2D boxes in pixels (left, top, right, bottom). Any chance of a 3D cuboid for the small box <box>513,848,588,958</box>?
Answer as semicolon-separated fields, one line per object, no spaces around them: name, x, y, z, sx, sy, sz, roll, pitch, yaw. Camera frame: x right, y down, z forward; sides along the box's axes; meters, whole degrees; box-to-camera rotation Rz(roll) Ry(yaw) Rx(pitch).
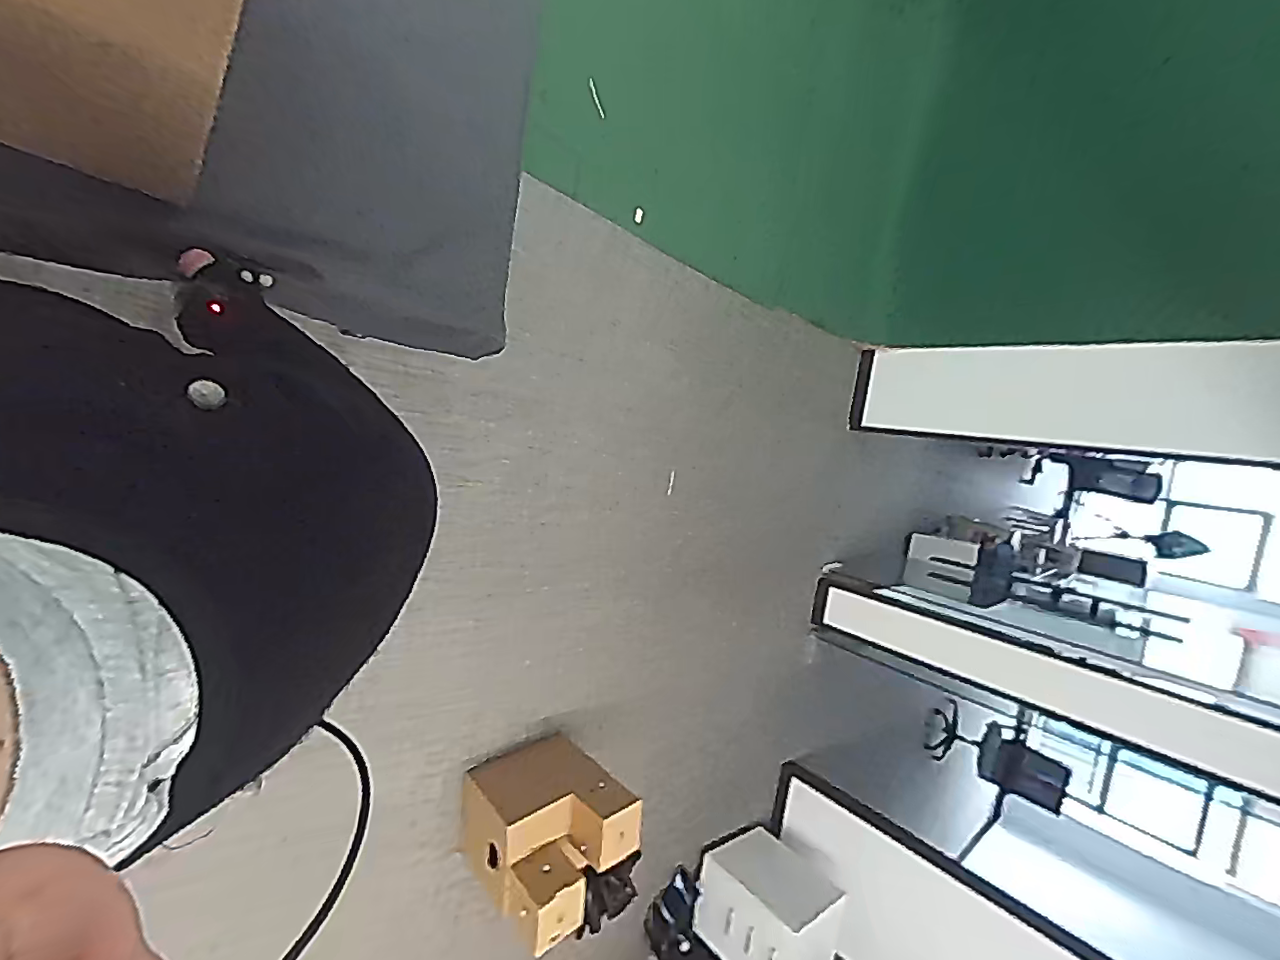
small box;-0.276;1.274;1.651;0.168;0.176;0.179;-5;103;-42

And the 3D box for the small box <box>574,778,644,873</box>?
small box;-0.105;1.128;1.780;0.168;0.176;0.179;-1;96;-43
